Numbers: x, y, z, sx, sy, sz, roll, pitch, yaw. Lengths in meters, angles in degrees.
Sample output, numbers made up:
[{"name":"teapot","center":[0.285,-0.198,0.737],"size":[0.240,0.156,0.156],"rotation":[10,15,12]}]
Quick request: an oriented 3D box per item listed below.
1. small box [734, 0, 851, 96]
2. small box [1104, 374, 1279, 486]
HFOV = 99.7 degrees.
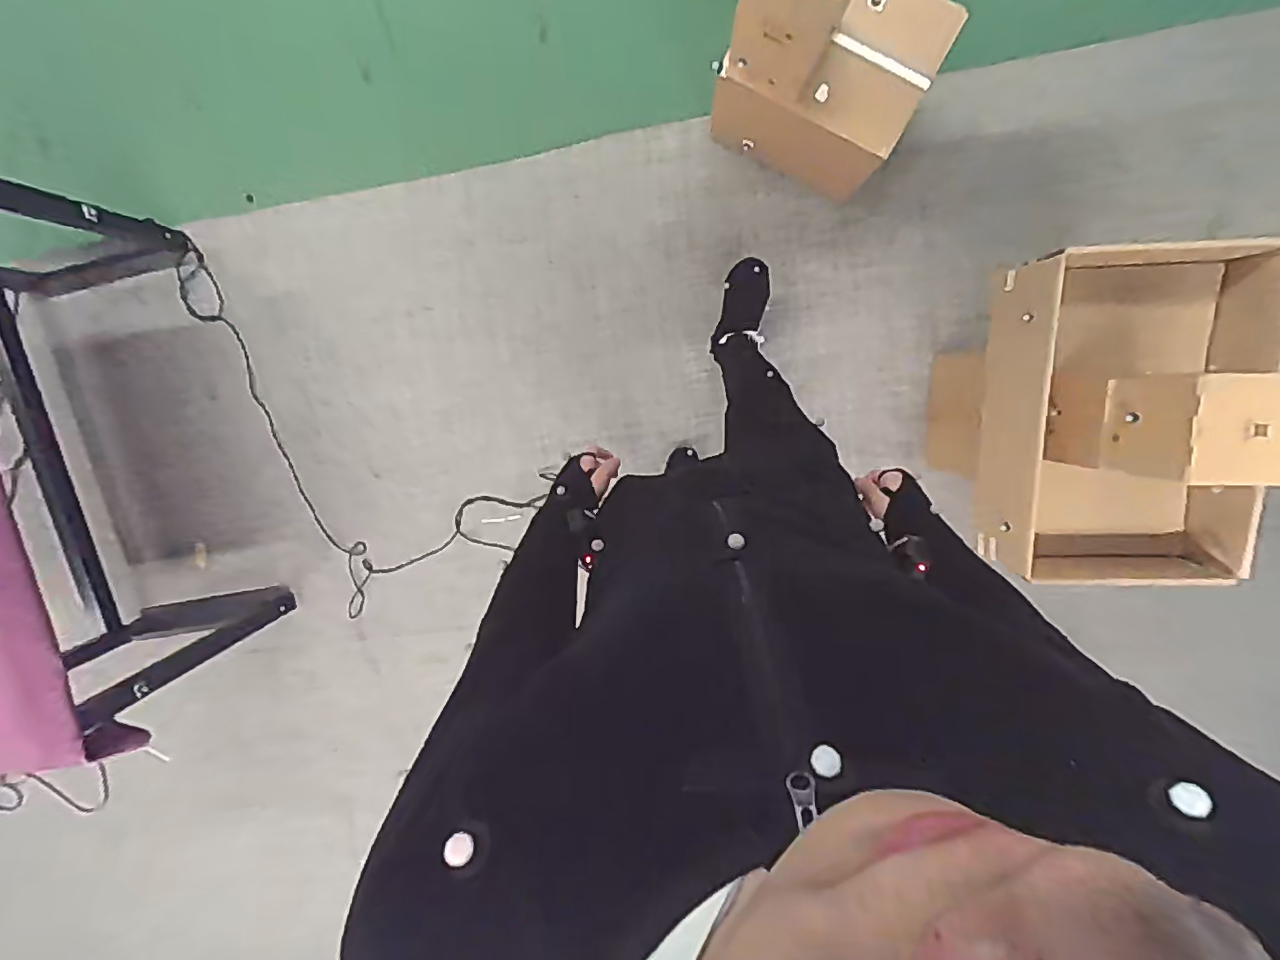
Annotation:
[{"name":"small box","center":[0.293,-0.886,1.027],"size":[0.168,0.176,0.179],"rotation":[30,101,-3]},{"name":"small box","center":[0.906,-0.085,0.863],"size":[0.179,0.176,0.168],"rotation":[0,99,5]}]
